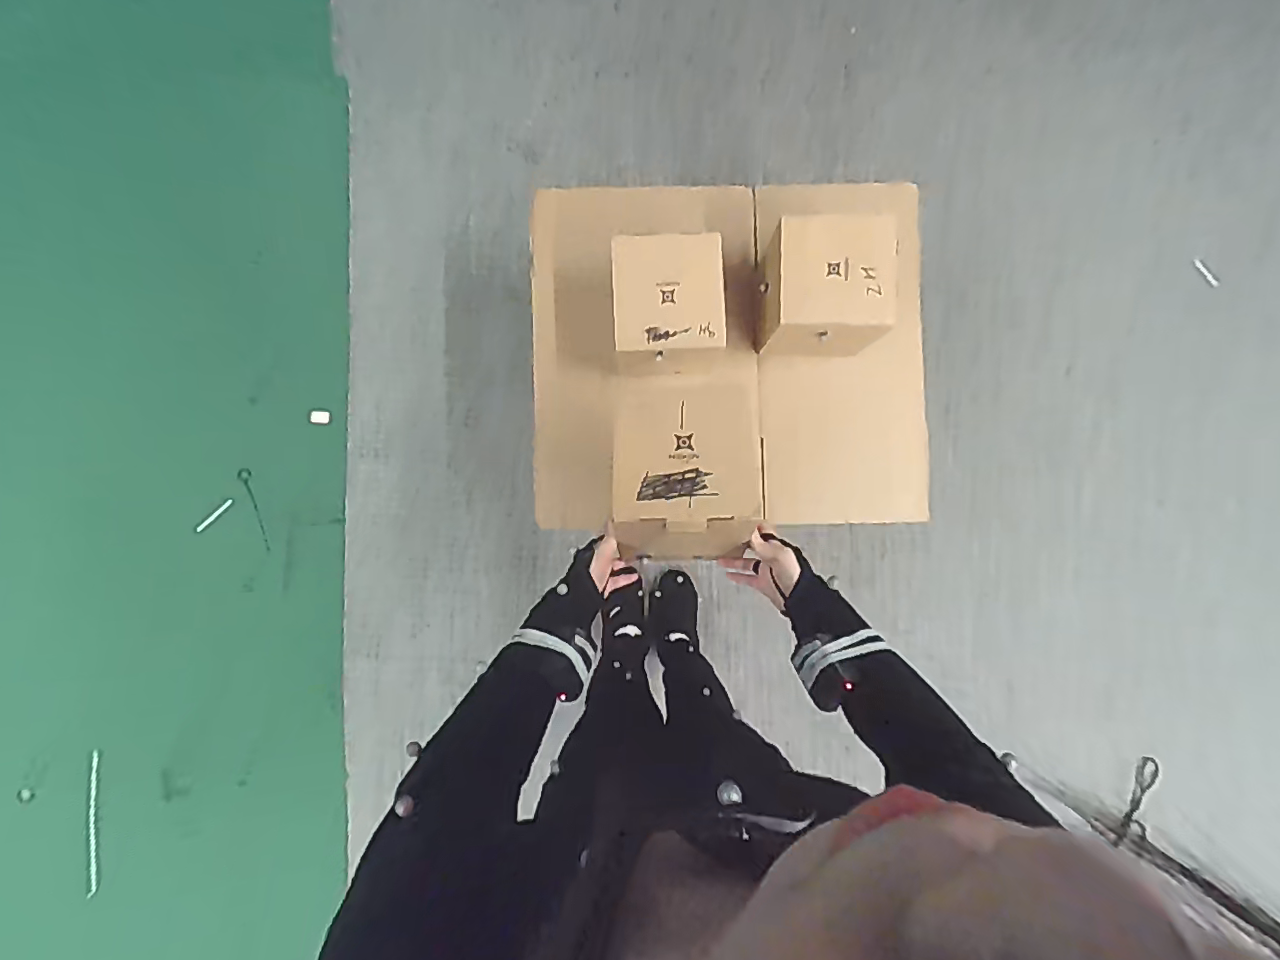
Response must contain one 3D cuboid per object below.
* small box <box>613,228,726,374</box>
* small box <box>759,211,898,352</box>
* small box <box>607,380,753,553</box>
[{"bbox_3d":[0.042,-0.279,0.871,0.168,0.176,0.179,-2,88,0],"label":"small box"},{"bbox_3d":[0.293,-0.310,0.873,0.179,0.176,0.168,2,89,1],"label":"small box"},{"bbox_3d":[0.049,-0.008,0.701,0.168,0.176,0.179,-1,64,2],"label":"small box"}]
